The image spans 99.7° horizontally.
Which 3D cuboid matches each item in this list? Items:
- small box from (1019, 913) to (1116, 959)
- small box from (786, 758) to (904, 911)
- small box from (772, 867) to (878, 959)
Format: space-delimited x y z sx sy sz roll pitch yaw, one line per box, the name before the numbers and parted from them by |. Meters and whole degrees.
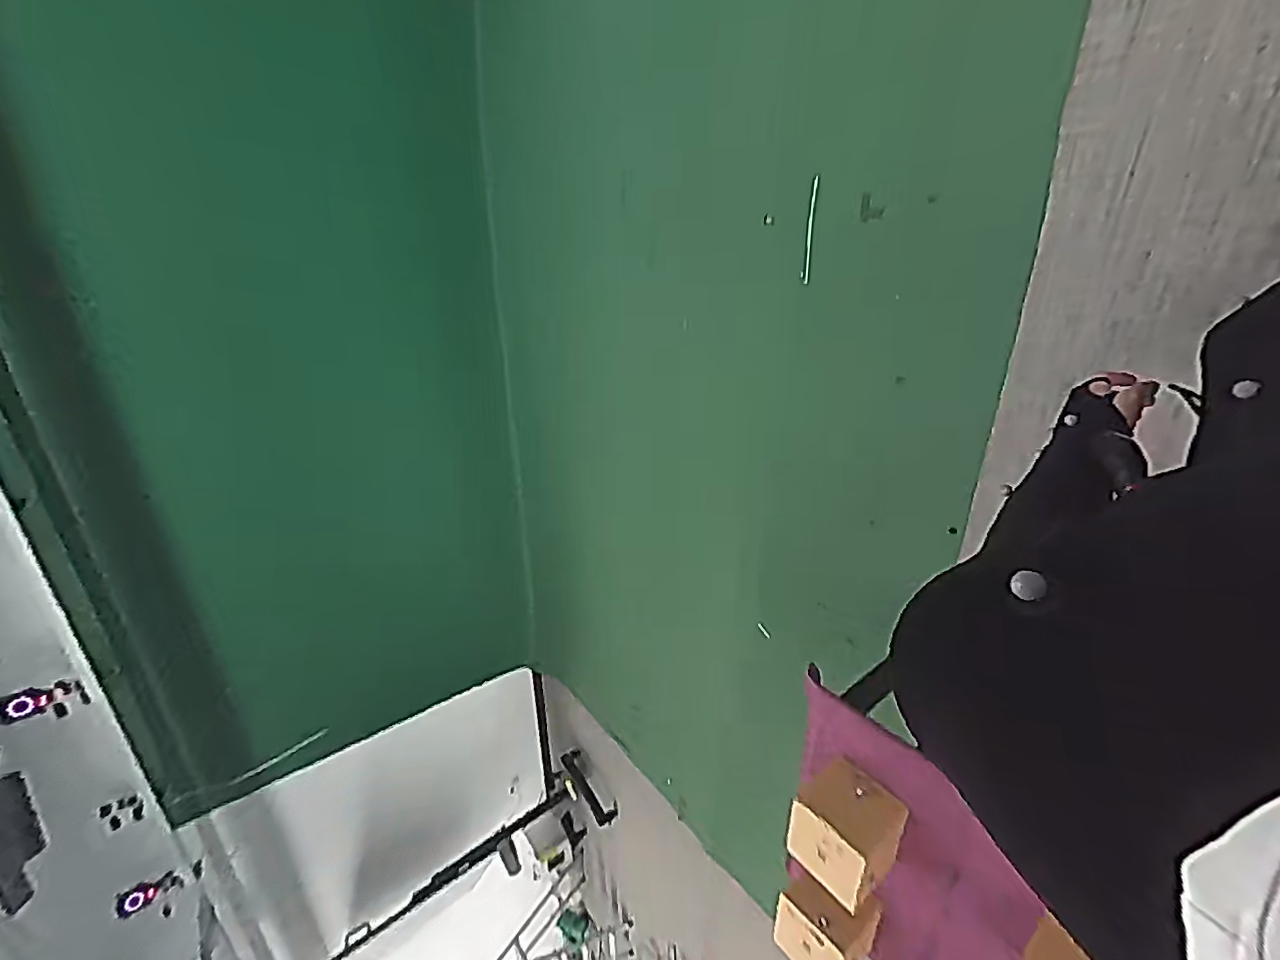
small box | 0.689 0.860 0.860 0.168 0.176 0.179 27 125 47
small box | 0.436 0.745 1.154 0.168 0.176 0.179 26 125 45
small box | 0.436 1.043 1.275 0.168 0.176 0.179 24 120 45
